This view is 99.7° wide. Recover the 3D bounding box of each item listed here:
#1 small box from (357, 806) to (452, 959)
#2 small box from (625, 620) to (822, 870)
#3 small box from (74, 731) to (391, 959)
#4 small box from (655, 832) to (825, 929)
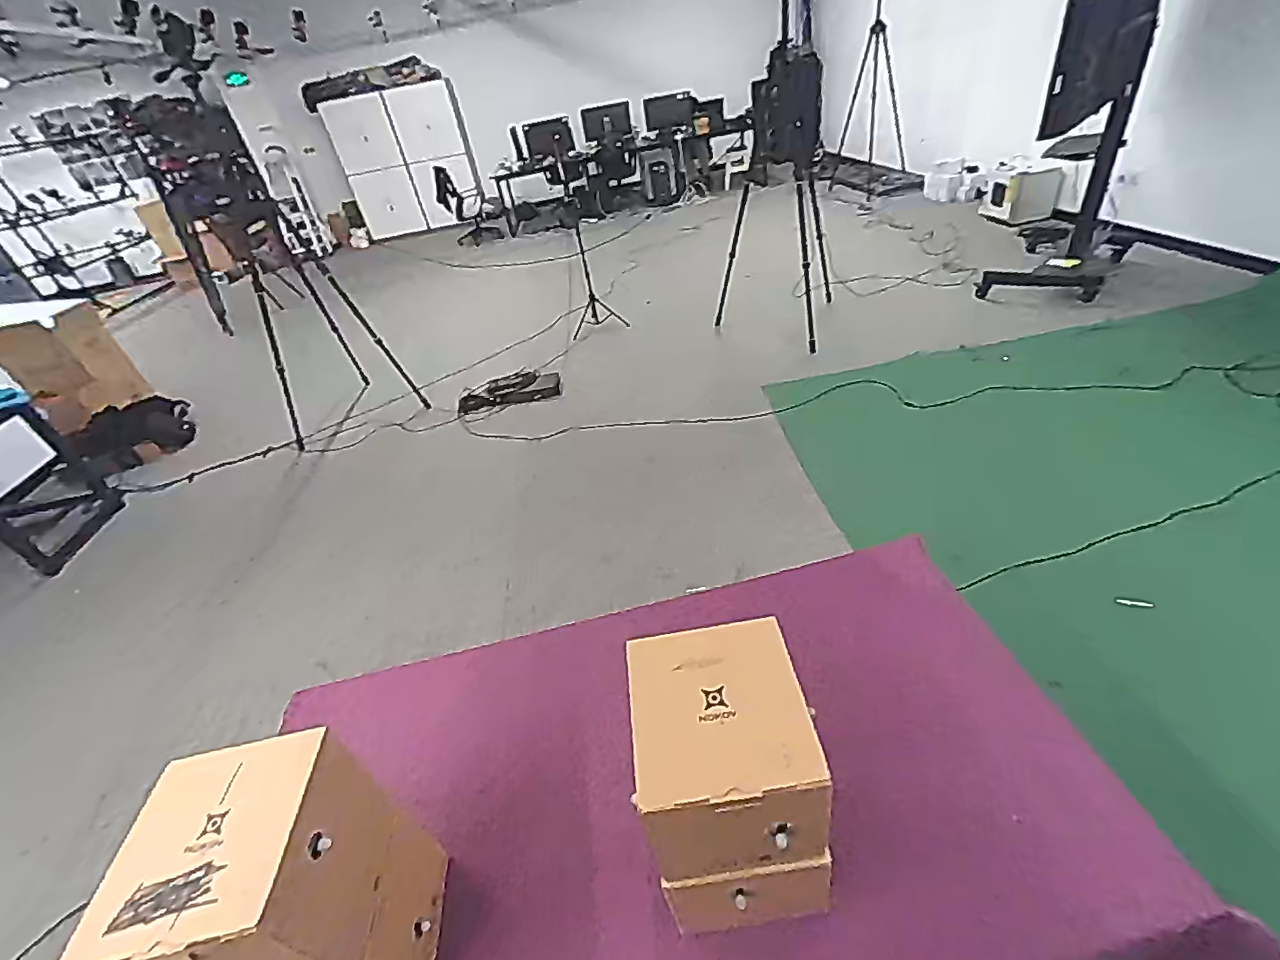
[{"bbox_3d":[-0.350,0.528,0.644,0.179,0.176,0.168,-13,36,-1],"label":"small box"},{"bbox_3d":[0.083,0.279,0.565,0.168,0.176,0.179,-10,36,3],"label":"small box"},{"bbox_3d":[-0.381,0.397,0.550,0.168,0.176,0.179,-13,35,-2],"label":"small box"},{"bbox_3d":[0.114,0.412,0.655,0.179,0.176,0.168,-11,37,3],"label":"small box"}]
